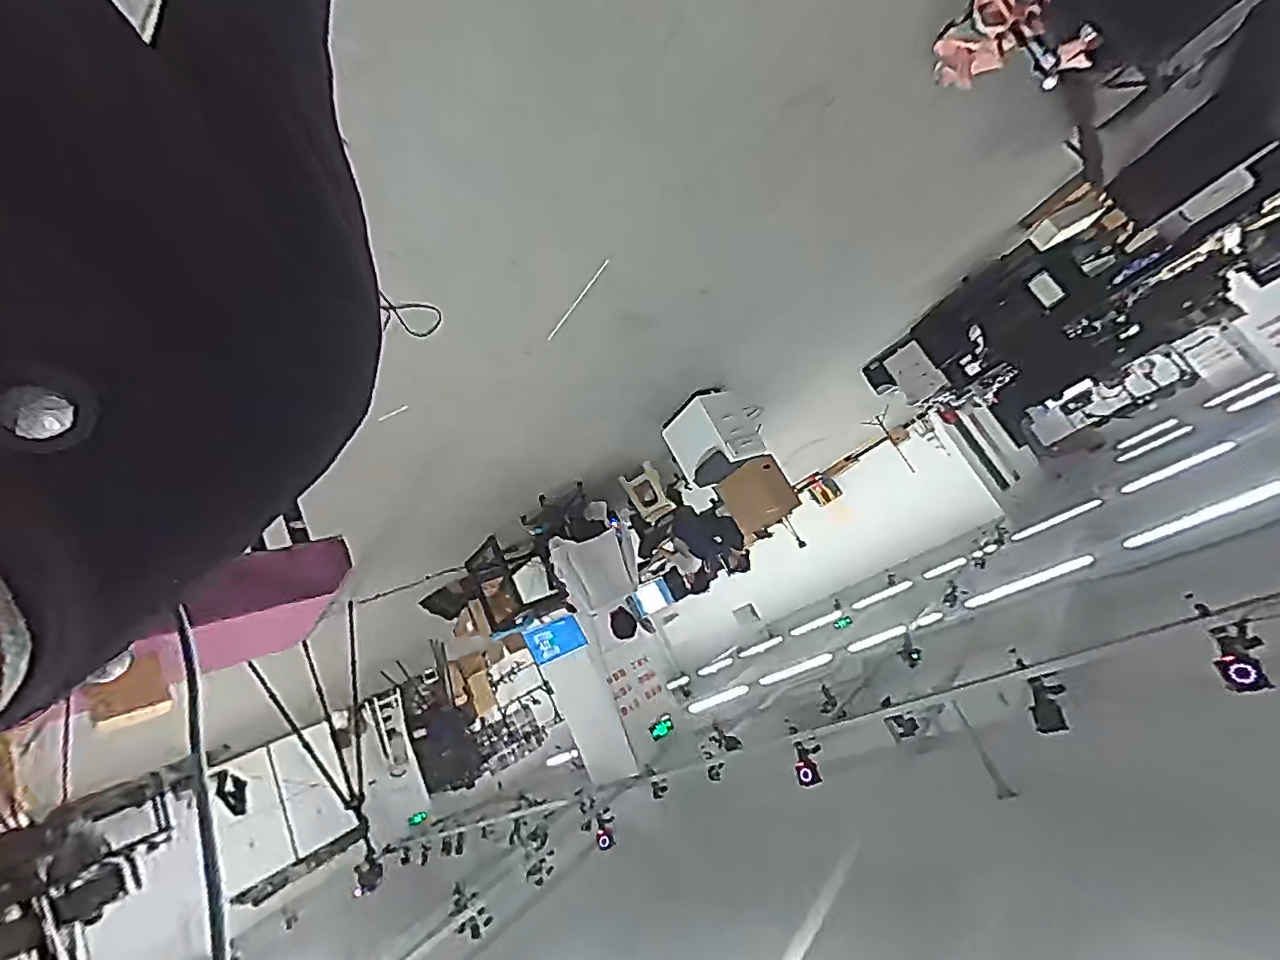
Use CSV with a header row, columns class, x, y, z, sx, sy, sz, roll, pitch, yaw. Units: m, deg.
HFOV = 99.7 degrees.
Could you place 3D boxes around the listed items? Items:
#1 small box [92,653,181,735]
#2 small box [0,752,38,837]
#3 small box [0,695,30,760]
class,x,y,z,sx,sy,sz,roll,pitch,yaw
small box,-1.583,0.666,1.699,0.179,0.176,0.168,-8,156,-49
small box,-1.710,0.841,1.403,0.179,0.176,0.168,-12,158,-48
small box,-1.788,0.703,1.447,0.179,0.176,0.168,-13,158,-47
